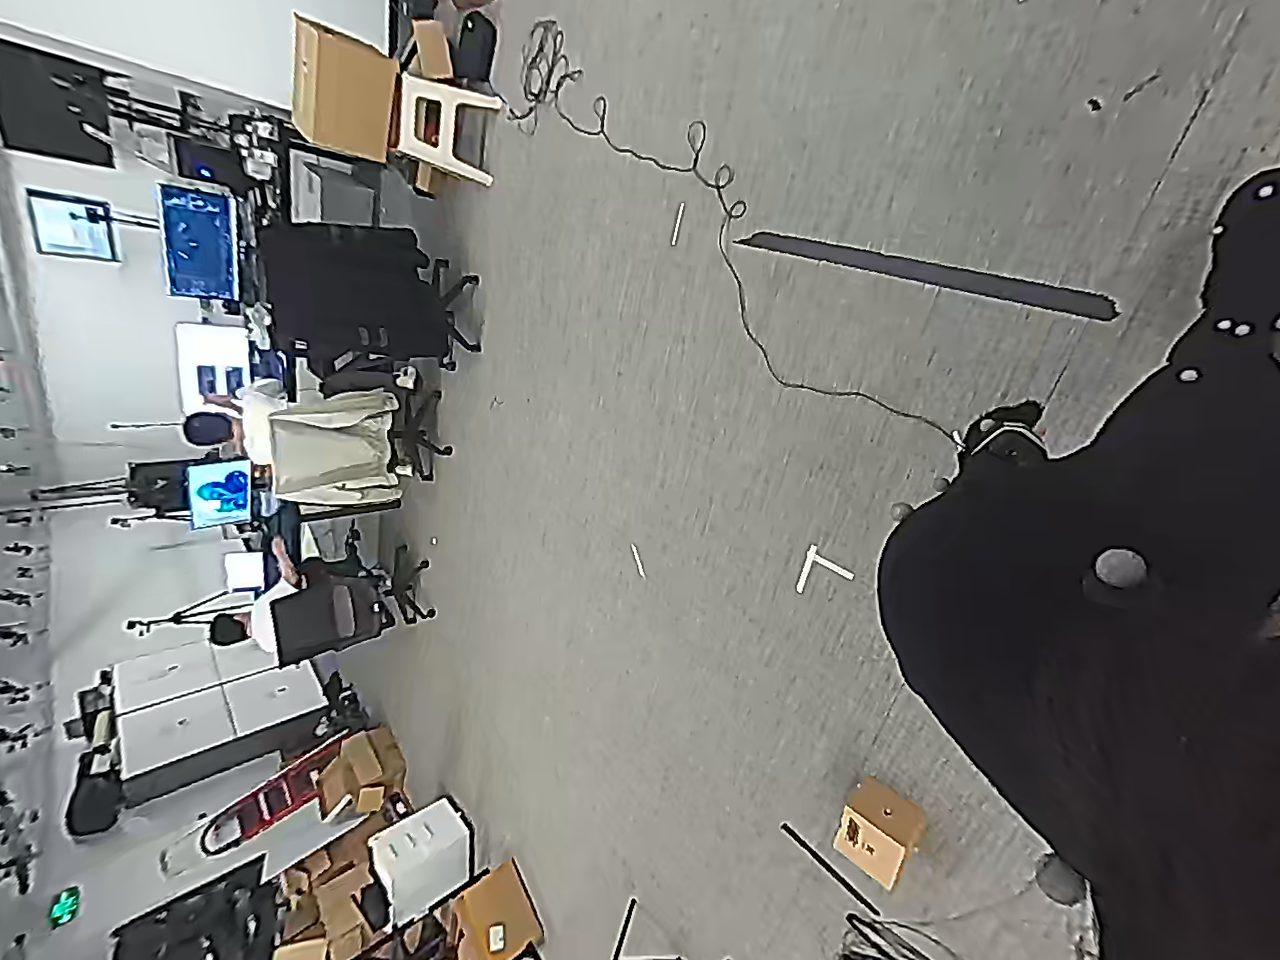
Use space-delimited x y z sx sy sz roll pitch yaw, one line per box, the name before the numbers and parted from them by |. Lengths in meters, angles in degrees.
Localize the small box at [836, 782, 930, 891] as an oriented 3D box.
small box | 0.706 1.020 1.570 0.179 0.176 0.168 24 114 40
